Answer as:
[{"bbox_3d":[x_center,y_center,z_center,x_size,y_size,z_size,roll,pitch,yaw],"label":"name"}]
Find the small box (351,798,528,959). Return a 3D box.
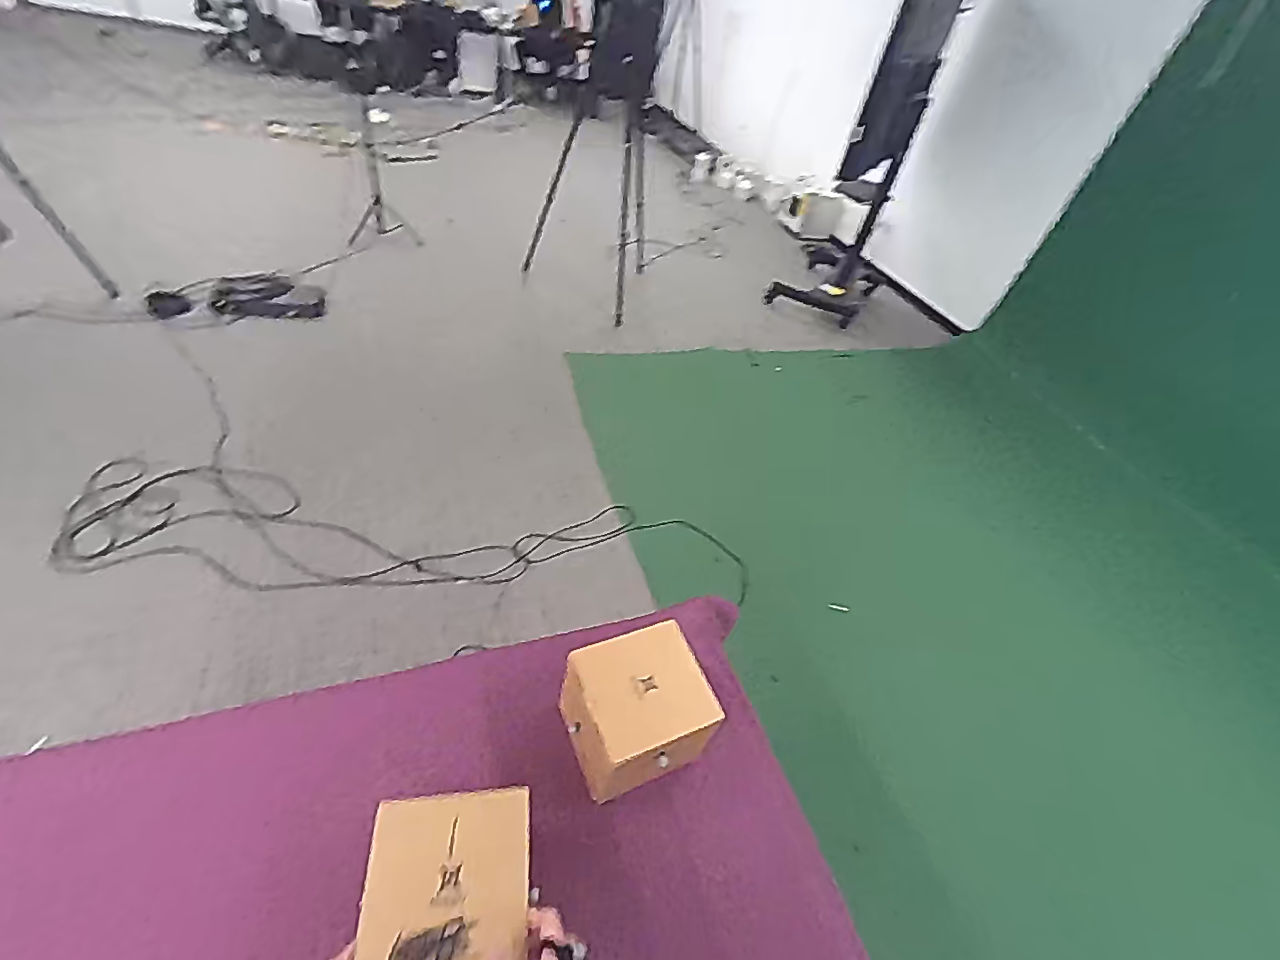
[{"bbox_3d":[-0.212,0.482,0.609,0.168,0.176,0.179,1,48,-13],"label":"small box"}]

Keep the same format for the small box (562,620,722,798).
[{"bbox_3d":[-0.008,0.344,0.817,0.179,0.176,0.168,-13,50,-23],"label":"small box"}]
